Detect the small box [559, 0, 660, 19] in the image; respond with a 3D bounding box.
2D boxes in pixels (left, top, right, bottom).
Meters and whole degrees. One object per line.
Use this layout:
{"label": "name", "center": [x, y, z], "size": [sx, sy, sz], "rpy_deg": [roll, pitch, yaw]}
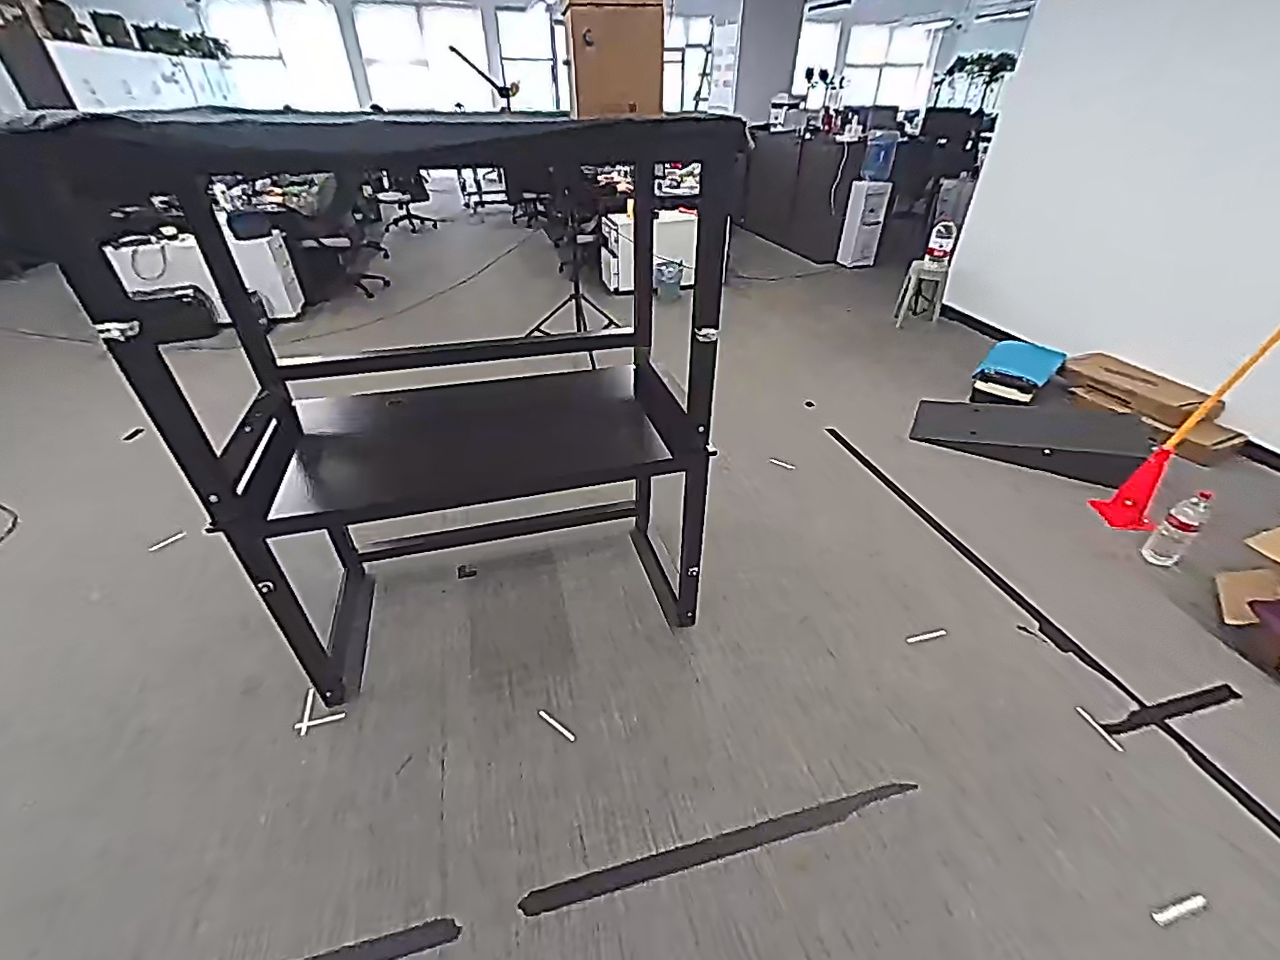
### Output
{"label": "small box", "center": [-0.061, -0.921, 0.941], "size": [0.168, 0.176, 0.179], "rpy_deg": [-8, 36, -8]}
